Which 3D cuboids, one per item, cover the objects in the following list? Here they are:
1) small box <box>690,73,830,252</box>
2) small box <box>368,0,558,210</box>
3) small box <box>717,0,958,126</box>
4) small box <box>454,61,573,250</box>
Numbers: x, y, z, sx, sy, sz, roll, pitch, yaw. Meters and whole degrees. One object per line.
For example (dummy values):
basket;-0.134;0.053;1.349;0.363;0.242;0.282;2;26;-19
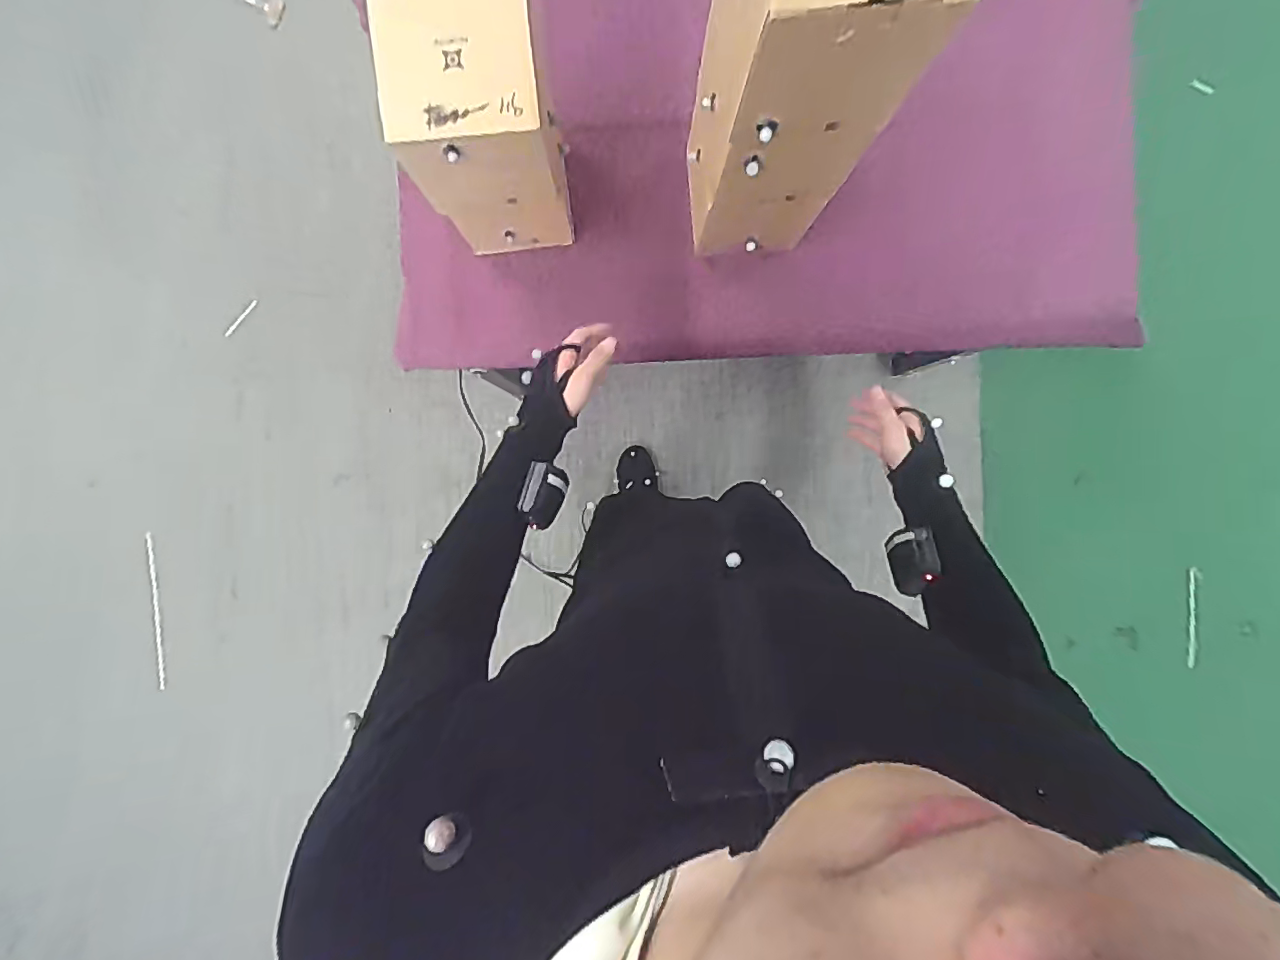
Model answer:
small box;0.167;-0.461;0.801;0.168;0.176;0.179;-5;92;0
small box;-0.194;-0.448;0.635;0.168;0.176;0.179;-6;92;-1
small box;0.164;-0.442;0.473;0.168;0.176;0.179;-5;90;-1
small box;-0.197;-0.467;0.798;0.168;0.176;0.179;-8;92;-1
